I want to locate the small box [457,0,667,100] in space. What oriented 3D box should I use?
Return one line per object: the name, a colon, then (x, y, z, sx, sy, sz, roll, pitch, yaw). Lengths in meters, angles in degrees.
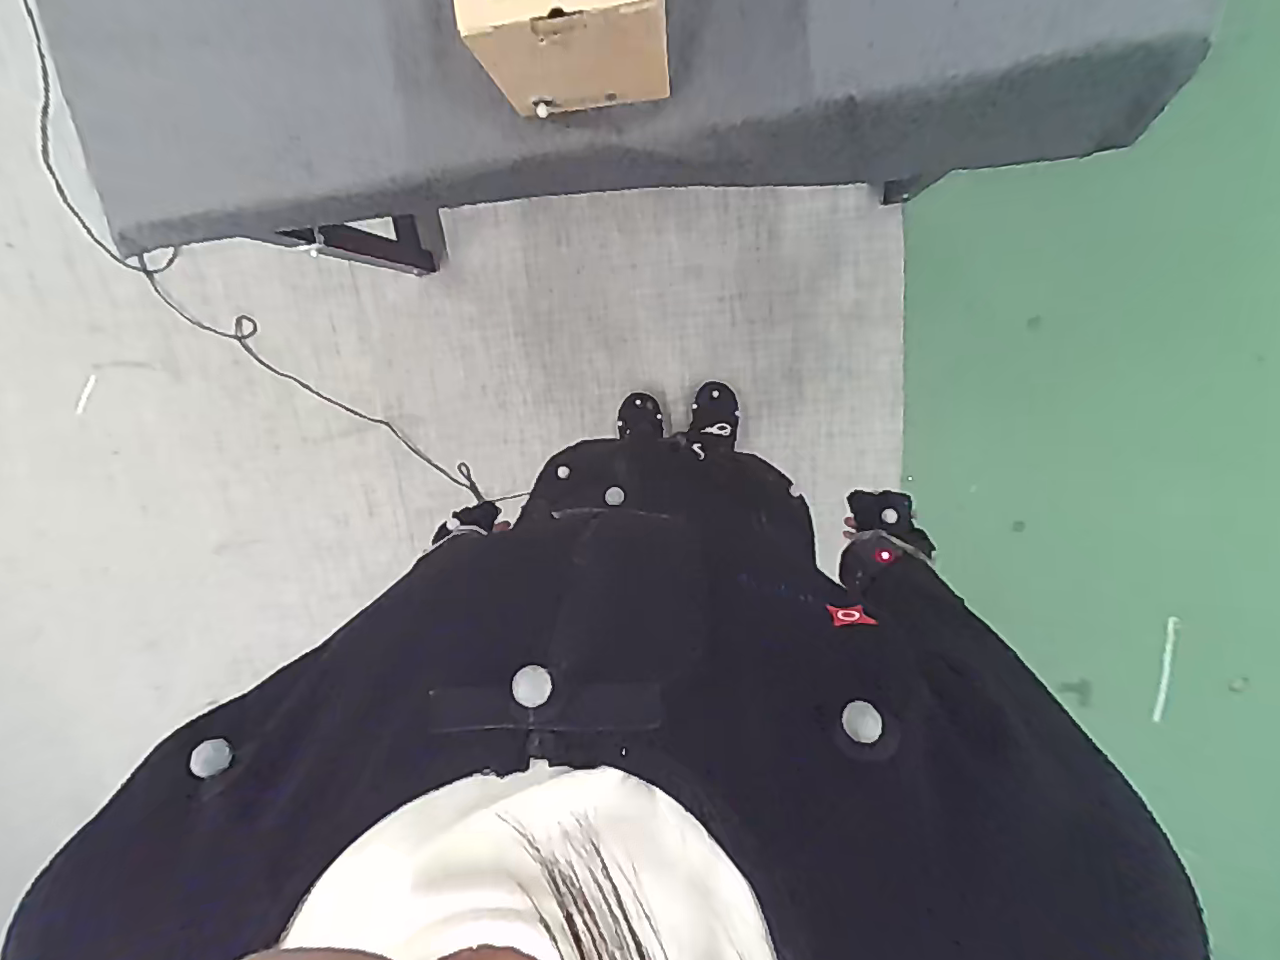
small box: (-0.063, -0.476, 0.491, 0.168, 0.176, 0.179, -2, 103, 6)
